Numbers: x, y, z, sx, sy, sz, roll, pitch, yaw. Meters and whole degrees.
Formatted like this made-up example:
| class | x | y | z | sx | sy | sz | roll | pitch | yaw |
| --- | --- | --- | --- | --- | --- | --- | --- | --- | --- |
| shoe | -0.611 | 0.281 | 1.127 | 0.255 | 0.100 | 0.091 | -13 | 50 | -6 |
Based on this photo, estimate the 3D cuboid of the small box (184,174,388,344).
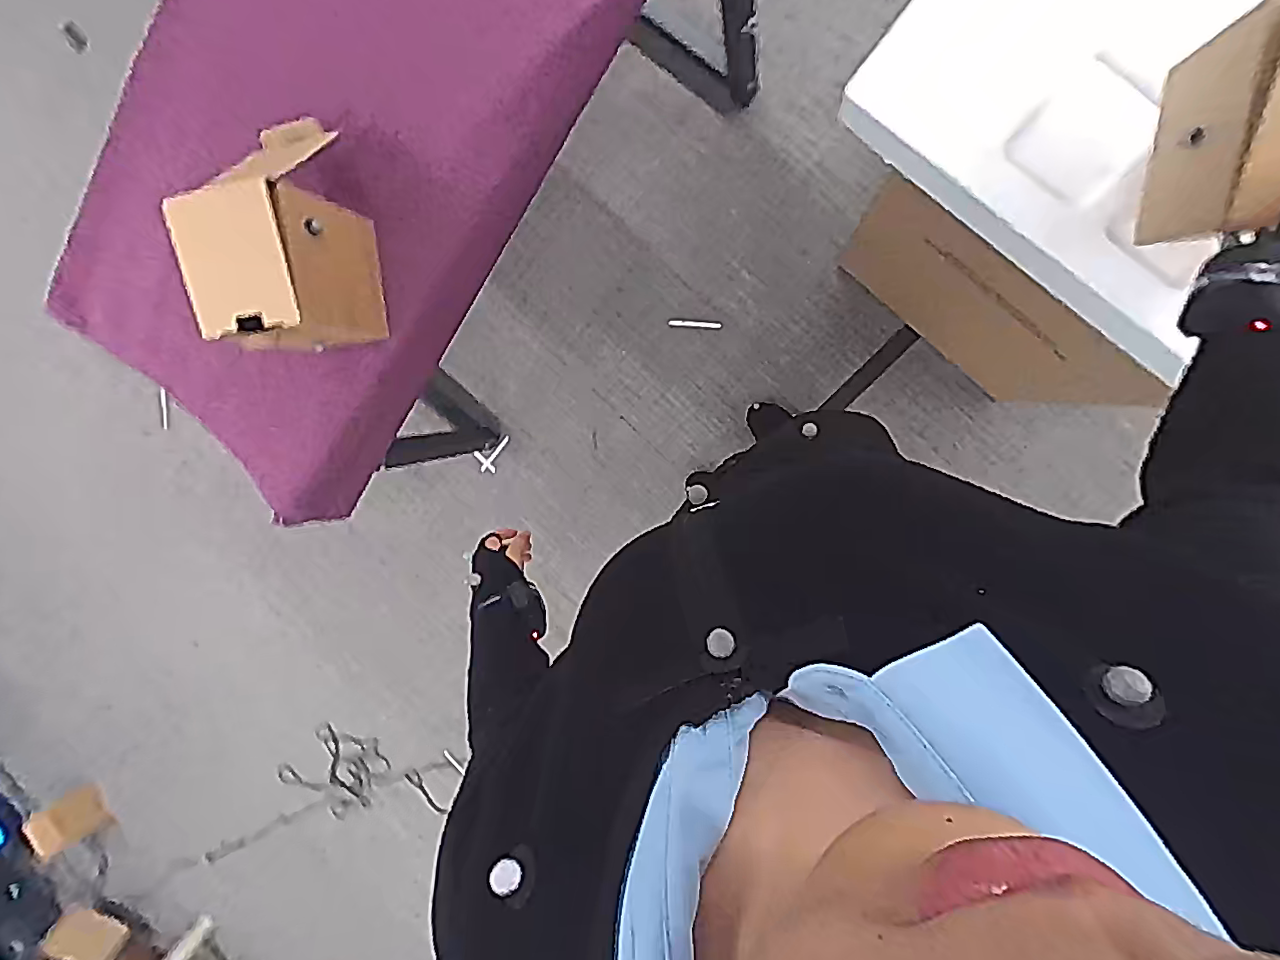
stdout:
| class | x | y | z | sx | sy | sz | roll | pitch | yaw |
| --- | --- | --- | --- | --- | --- | --- | --- | --- | --- |
| small box | -0.490 | -0.299 | 0.772 | 0.168 | 0.176 | 0.179 | -3 | 97 | 15 |
